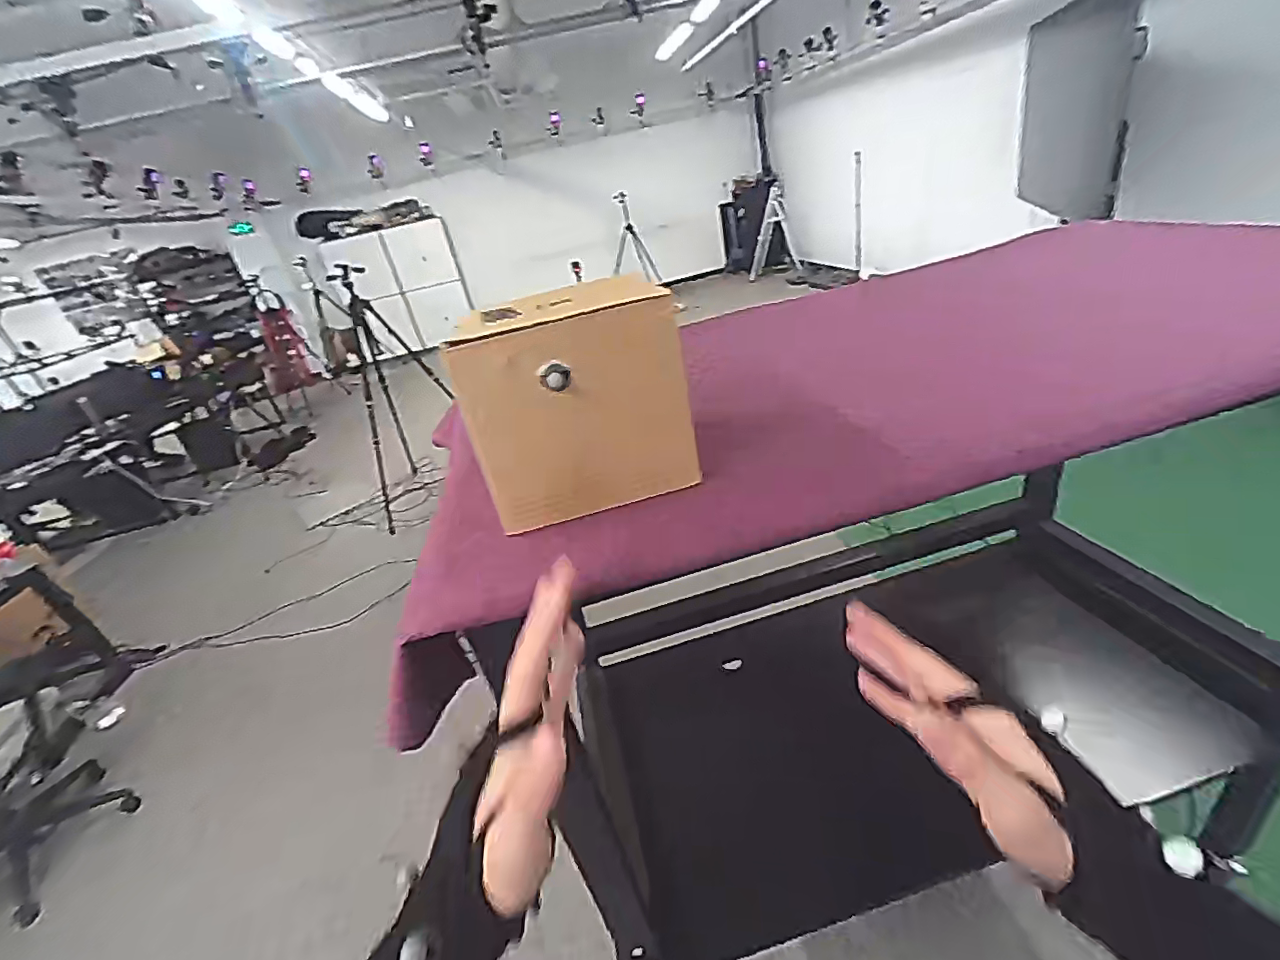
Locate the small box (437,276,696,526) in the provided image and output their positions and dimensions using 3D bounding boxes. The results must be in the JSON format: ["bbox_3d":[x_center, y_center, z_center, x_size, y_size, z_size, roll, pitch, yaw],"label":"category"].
[{"bbox_3d":[-0.062,-0.078,0.500,0.179,0.176,0.168,-15,27,-5],"label":"small box"}]
